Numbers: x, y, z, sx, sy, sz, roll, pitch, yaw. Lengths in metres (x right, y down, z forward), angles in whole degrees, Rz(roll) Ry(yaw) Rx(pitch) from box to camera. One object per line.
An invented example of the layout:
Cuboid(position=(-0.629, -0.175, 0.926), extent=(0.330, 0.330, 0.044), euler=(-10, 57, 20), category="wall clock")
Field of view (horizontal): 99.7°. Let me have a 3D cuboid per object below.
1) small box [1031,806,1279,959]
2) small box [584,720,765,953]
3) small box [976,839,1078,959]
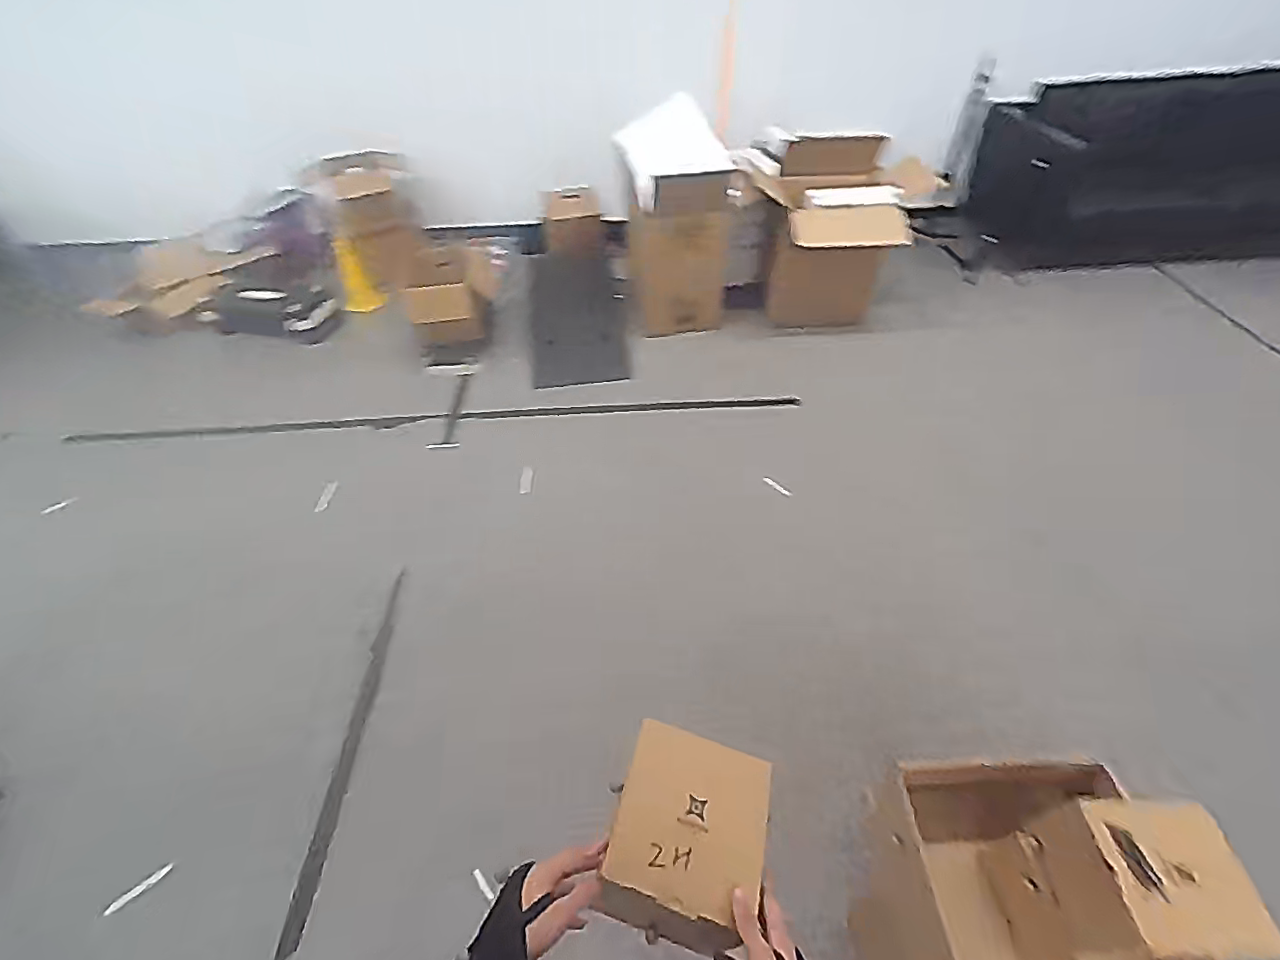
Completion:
Cuboid(position=(0.707, 0.585, 0.775), extent=(0.179, 0.176, 0.168), euler=(2, 47, 2), category="small box")
Cuboid(position=(0.039, 0.434, 0.660), extent=(0.168, 0.176, 0.179), euler=(18, 44, 4), category="small box")
Cuboid(position=(0.708, 0.701, 0.892), extent=(0.179, 0.176, 0.168), euler=(-3, 47, -3), category="small box")
